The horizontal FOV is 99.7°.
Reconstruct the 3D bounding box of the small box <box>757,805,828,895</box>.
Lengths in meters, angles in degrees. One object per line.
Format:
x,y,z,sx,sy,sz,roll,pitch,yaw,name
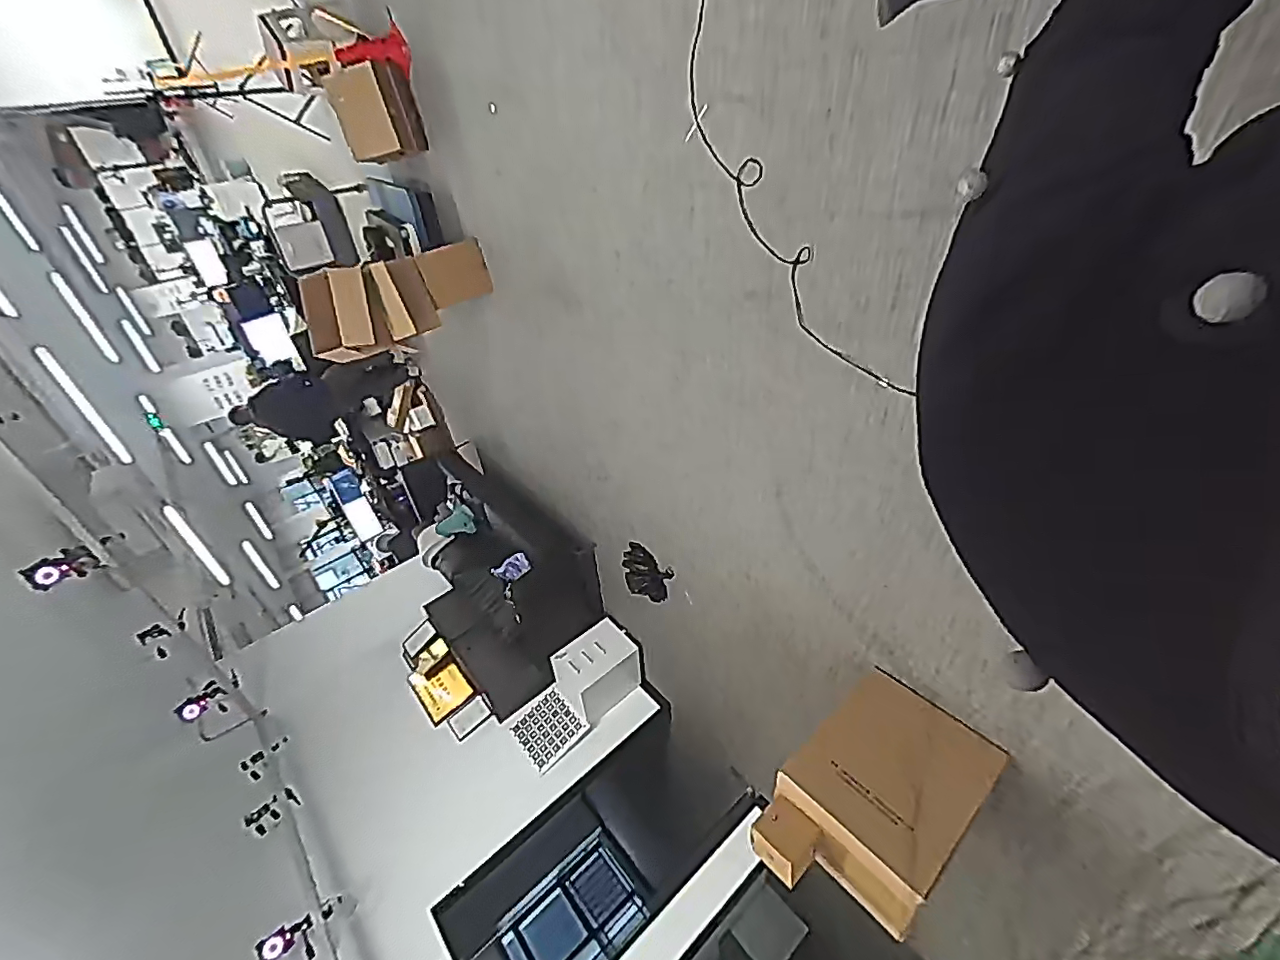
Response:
0.534,1.288,1.903,0.179,0.176,0.168,24,132,46,small box
